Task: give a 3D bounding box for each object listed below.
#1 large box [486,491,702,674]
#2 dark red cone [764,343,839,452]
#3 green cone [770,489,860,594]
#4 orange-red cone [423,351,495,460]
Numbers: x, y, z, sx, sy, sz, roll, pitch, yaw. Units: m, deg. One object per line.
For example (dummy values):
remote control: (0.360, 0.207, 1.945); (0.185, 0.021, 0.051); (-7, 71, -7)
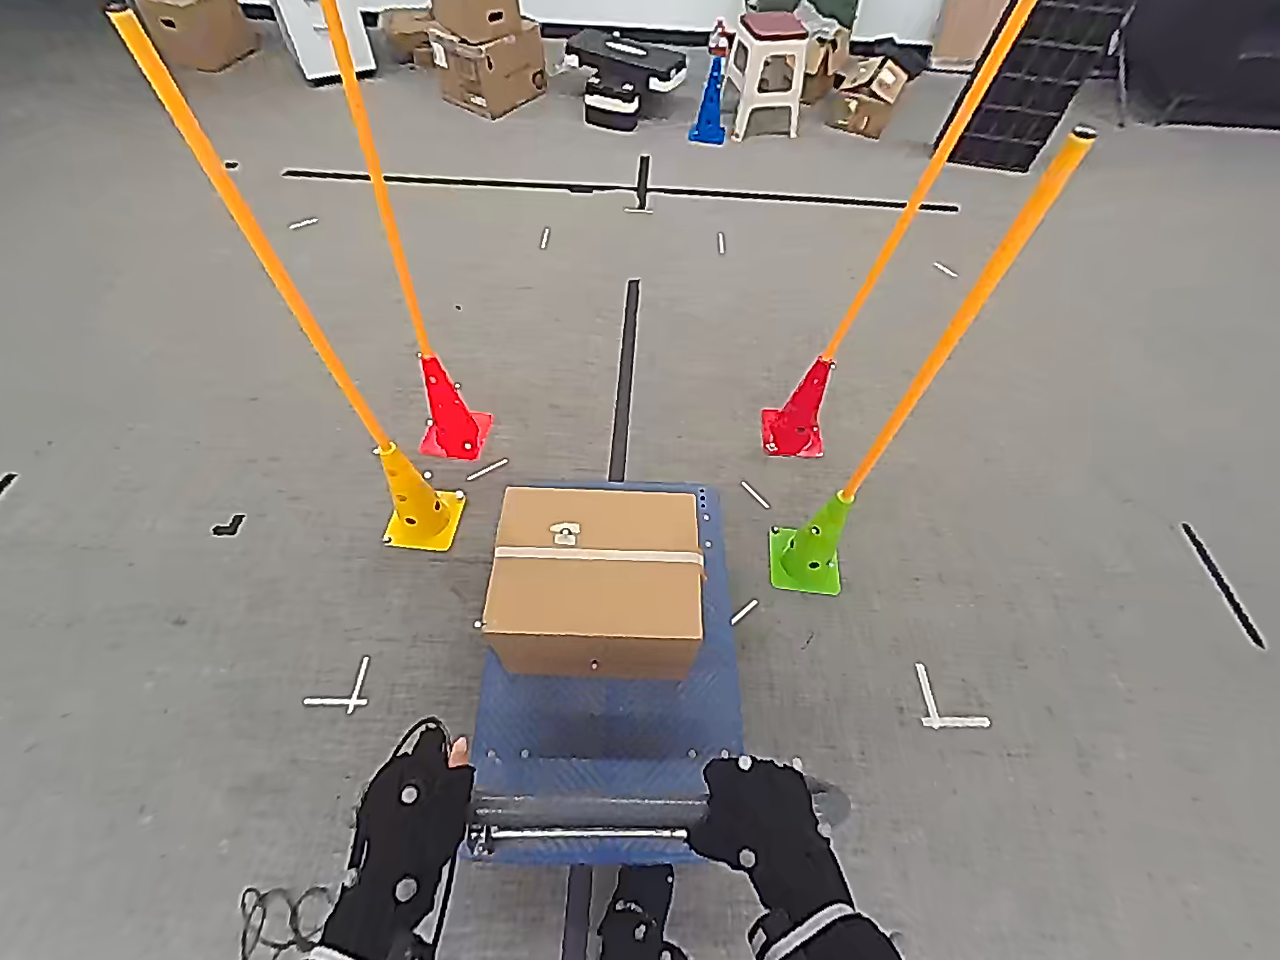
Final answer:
large box: (-0.085, 0.236, 1.194); (0.408, 0.320, 0.320); (2, 57, -1)
dark red cone: (0.540, -0.271, 1.714); (0.201, 0.394, 0.202); (4, 57, -2)
green cone: (0.498, 0.140, 1.459); (0.202, 0.368, 0.200); (7, 56, 1)
orange-red cone: (-0.593, -0.255, 1.670); (0.198, 0.360, 0.199); (10, 55, 3)
